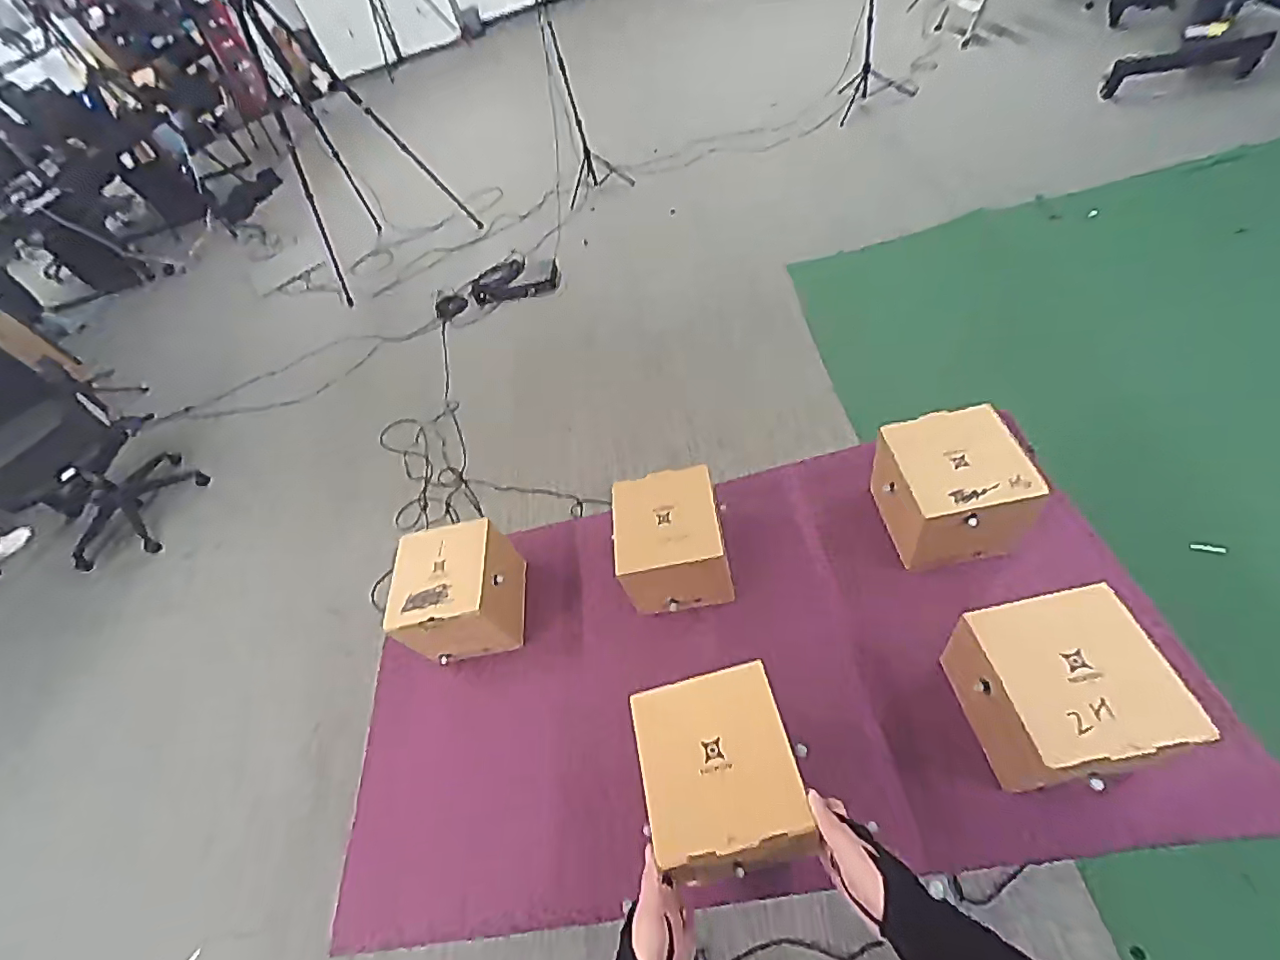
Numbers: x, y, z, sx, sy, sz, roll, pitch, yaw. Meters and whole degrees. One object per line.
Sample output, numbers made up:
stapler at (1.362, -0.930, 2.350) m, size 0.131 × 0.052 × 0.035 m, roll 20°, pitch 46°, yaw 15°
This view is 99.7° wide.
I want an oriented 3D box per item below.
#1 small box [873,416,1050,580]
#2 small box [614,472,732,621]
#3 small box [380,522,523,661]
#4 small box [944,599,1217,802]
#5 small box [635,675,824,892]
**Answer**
small box at (0.480, 0.032, 0.844) m, size 0.168 × 0.176 × 0.179 m, roll -12°, pitch 52°, yaw 7°
small box at (0.056, 0.114, 0.902) m, size 0.168 × 0.176 × 0.179 m, roll -11°, pitch 53°, yaw 8°
small box at (-0.311, 0.200, 0.933) m, size 0.168 × 0.176 × 0.179 m, roll -11°, pitch 53°, yaw 6°
small box at (0.501, 0.271, 0.656) m, size 0.168 × 0.176 × 0.179 m, roll -14°, pitch 52°, yaw 6°
small box at (0.101, 0.361, 0.639) m, size 0.168 × 0.176 × 0.179 m, roll -16°, pitch 49°, yaw 2°
